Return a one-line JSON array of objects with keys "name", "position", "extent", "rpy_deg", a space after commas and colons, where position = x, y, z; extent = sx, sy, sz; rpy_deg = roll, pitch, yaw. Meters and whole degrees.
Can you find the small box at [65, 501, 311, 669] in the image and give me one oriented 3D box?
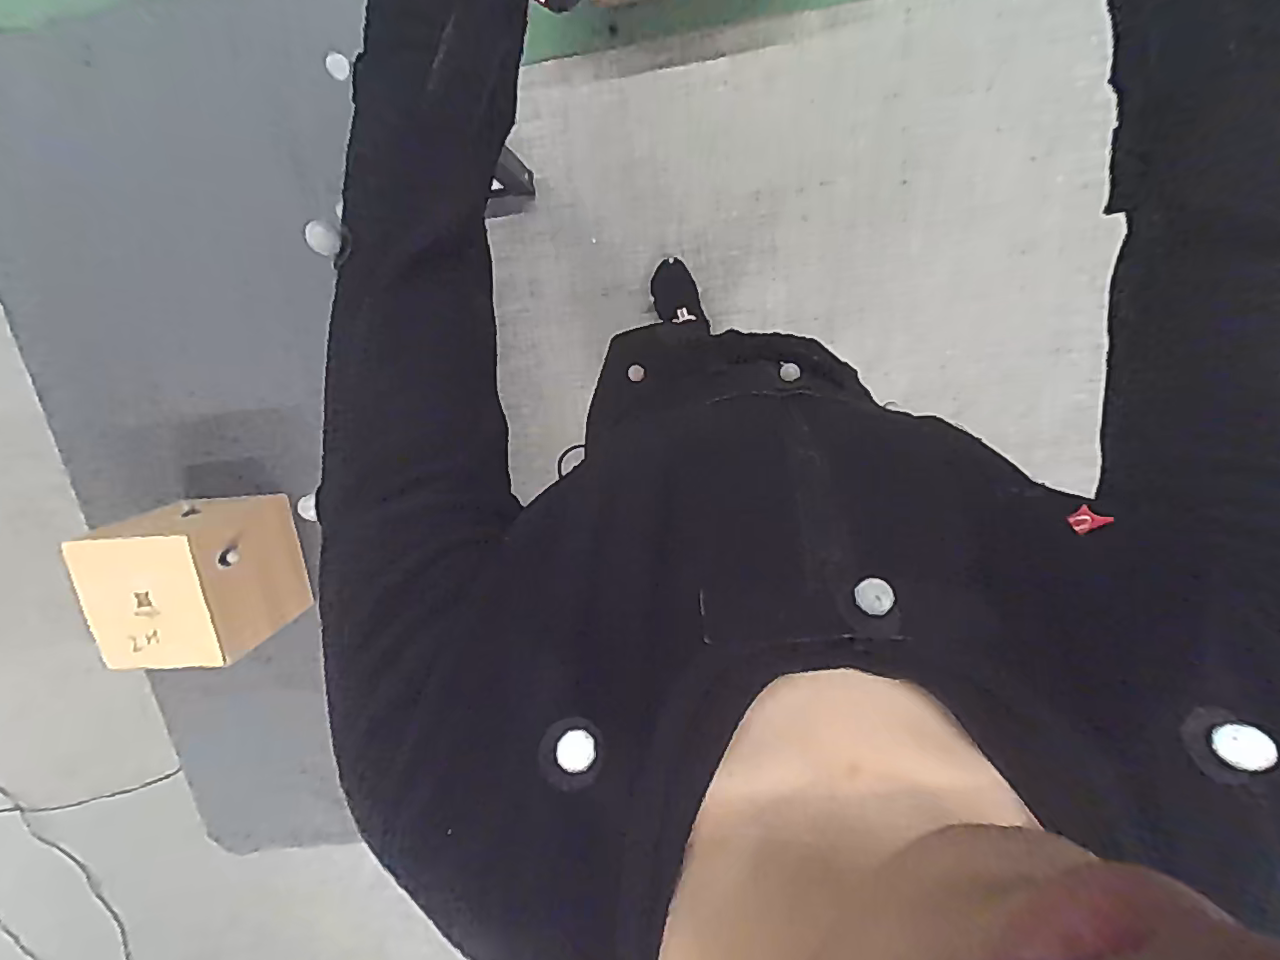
[{"name": "small box", "position": [-0.586, 0.130, 0.728], "extent": [0.168, 0.176, 0.179], "rpy_deg": [-3, 105, 6]}]
